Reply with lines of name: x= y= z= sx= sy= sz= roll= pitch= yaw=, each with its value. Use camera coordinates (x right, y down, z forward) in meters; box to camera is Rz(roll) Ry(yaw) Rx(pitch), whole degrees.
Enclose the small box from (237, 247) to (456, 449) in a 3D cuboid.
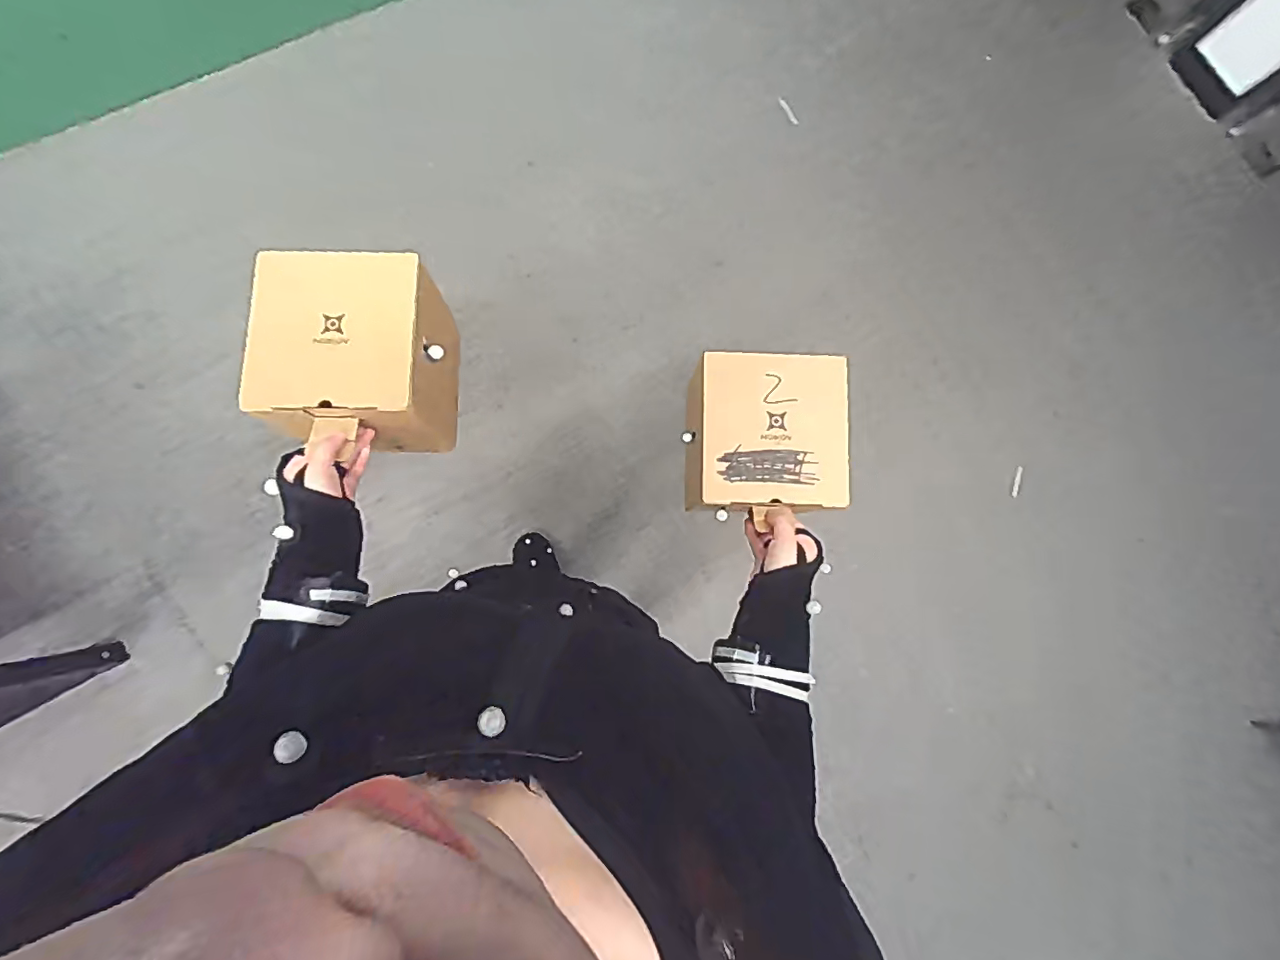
small box: x=-0.319 y=-0.141 z=0.628 sx=0.168 sy=0.176 sz=0.179 roll=0 pitch=80 yaw=-4
